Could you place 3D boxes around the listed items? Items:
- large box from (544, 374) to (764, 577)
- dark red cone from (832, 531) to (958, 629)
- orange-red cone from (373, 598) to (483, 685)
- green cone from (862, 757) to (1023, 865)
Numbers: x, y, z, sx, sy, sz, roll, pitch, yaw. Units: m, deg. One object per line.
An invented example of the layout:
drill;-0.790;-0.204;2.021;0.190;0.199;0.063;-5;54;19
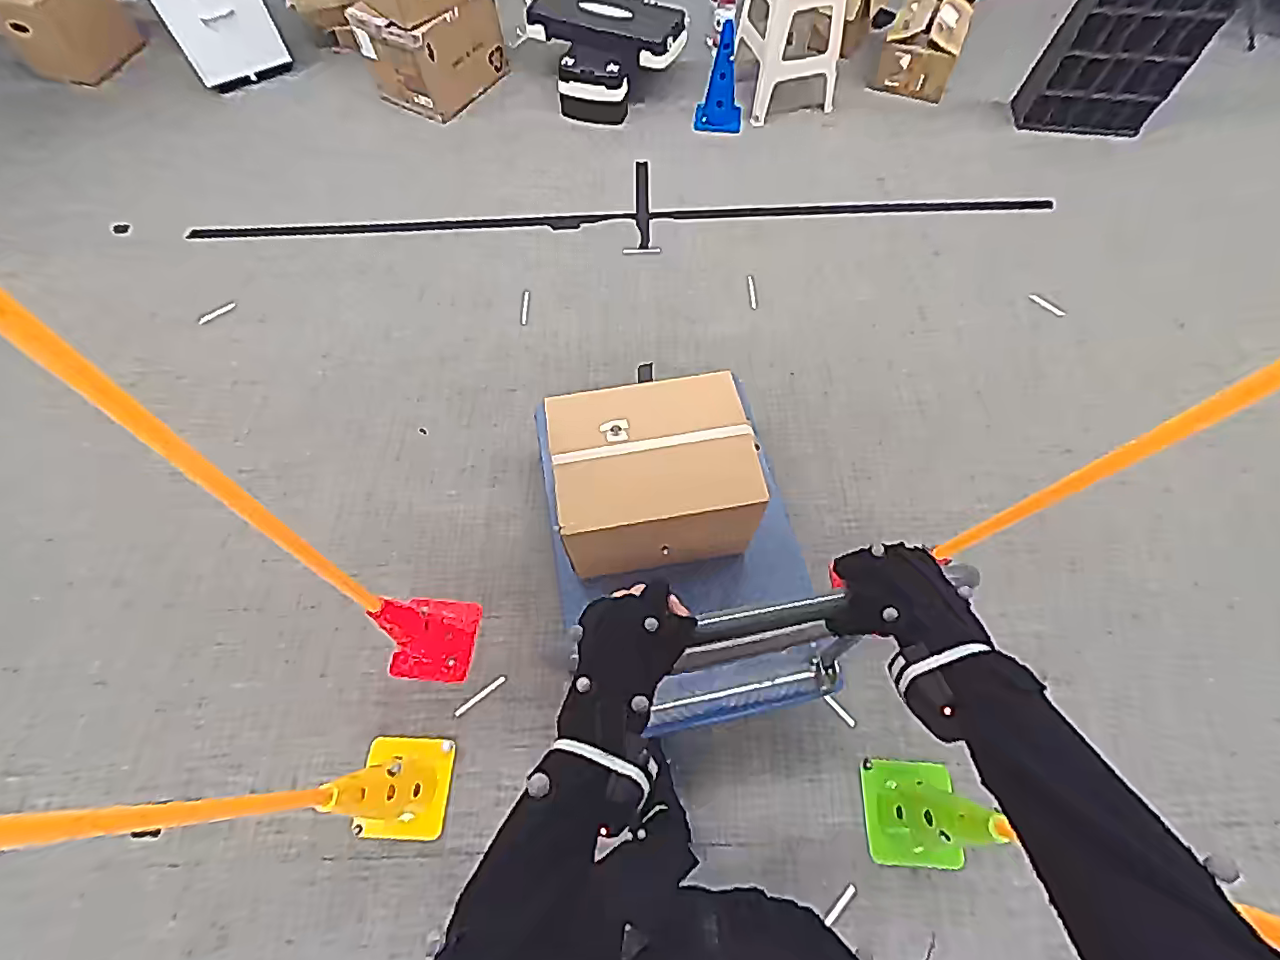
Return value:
large box;0.024;0.003;1.225;0.408;0.320;0.320;-10;64;-3
dark red cone;0.610;0.210;1.249;0.201;0.394;0.202;-1;63;-1
orange-red cone;-0.517;0.332;1.234;0.198;0.360;0.199;5;62;3
green cone;0.602;0.651;1.044;0.202;0.368;0.200;2;63;1
